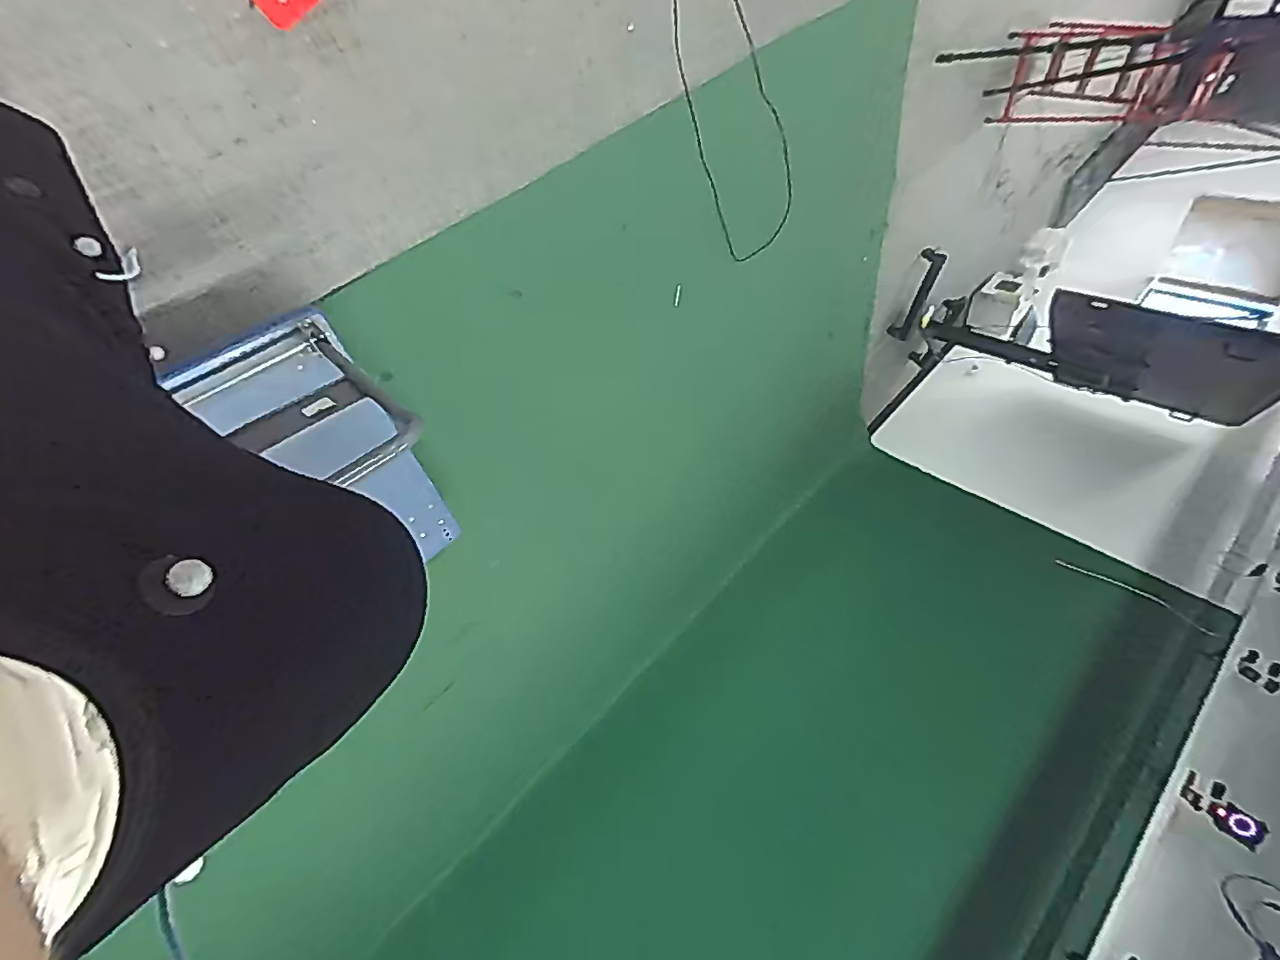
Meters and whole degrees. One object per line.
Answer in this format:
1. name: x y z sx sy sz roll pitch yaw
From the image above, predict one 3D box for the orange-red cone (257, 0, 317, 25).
1. orange-red cone: -0.602 -0.975 0.964 0.199 0.360 0.198 -51 146 -9
